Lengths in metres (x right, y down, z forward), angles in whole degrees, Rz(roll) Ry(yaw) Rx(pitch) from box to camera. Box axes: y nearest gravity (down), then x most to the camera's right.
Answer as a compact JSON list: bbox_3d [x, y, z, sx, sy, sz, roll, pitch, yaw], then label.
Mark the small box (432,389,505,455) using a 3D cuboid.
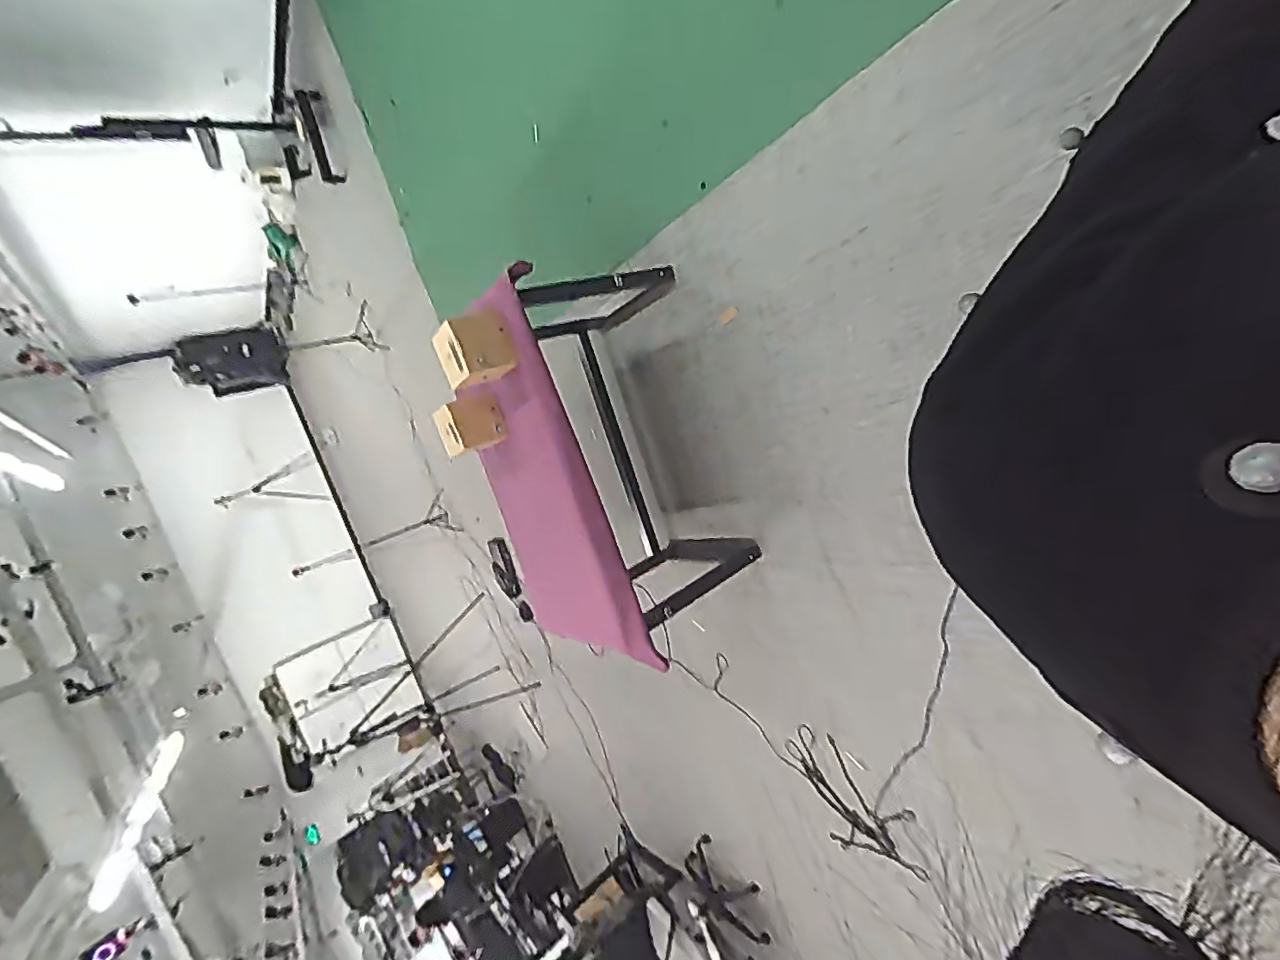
[{"bbox_3d":[-0.586,-0.200,1.861,0.179,0.176,0.168,-13,99,54],"label":"small box"}]
